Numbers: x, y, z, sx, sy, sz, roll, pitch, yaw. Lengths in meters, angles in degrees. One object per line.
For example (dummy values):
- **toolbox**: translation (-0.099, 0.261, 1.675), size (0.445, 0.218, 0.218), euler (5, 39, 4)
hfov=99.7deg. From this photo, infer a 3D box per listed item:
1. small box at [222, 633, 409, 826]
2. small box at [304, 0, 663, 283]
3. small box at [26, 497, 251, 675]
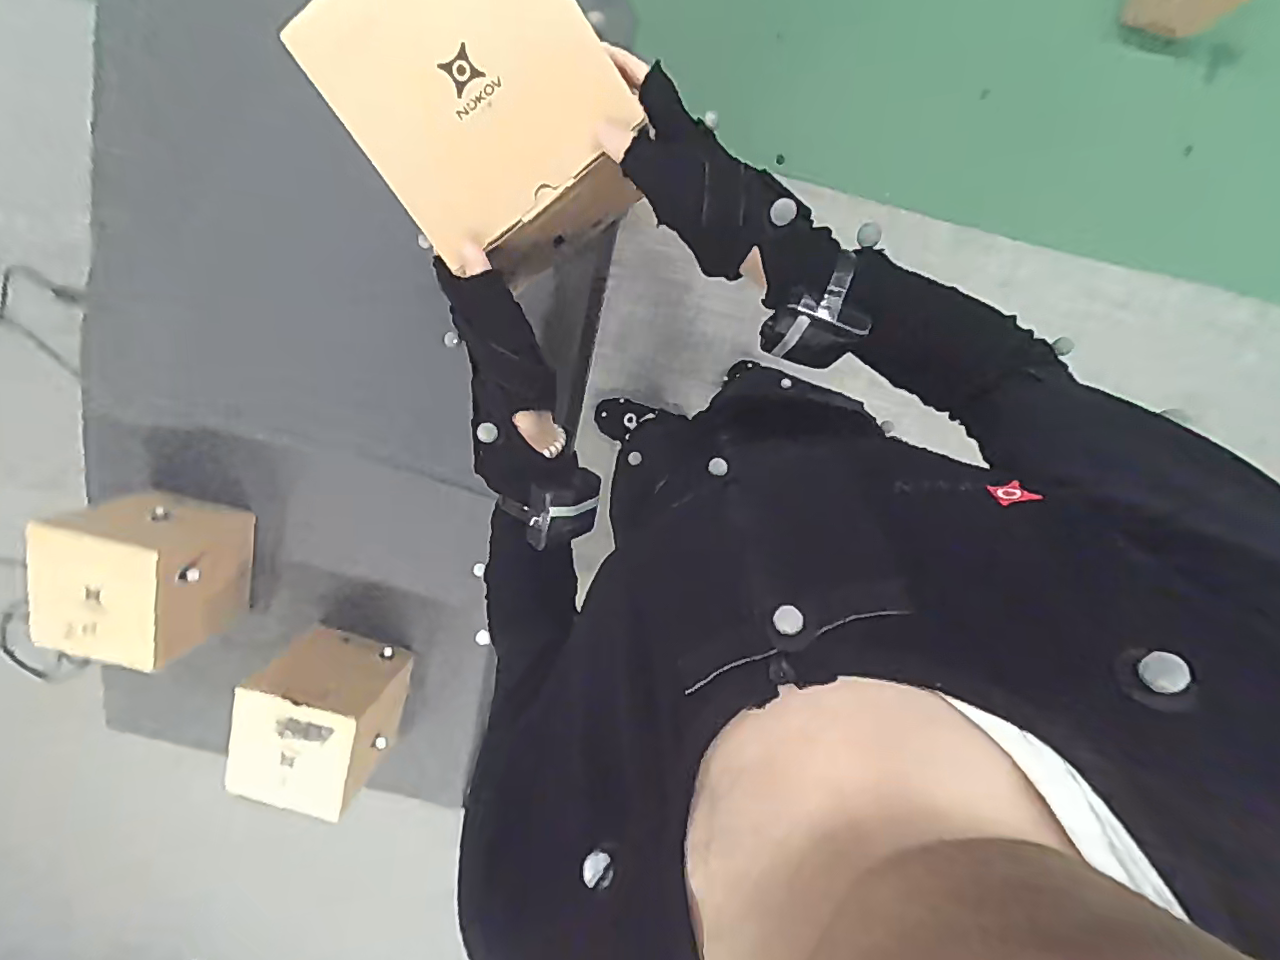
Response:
- **small box**: translation (-0.465, 0.355, 0.799), size (0.168, 0.176, 0.179), euler (16, 104, 0)
- **small box**: translation (-0.099, -0.277, 0.422), size (0.168, 0.176, 0.179), euler (-33, 103, 9)
- **small box**: translation (-0.686, 0.136, 0.759), size (0.168, 0.176, 0.179), euler (13, 104, -1)
